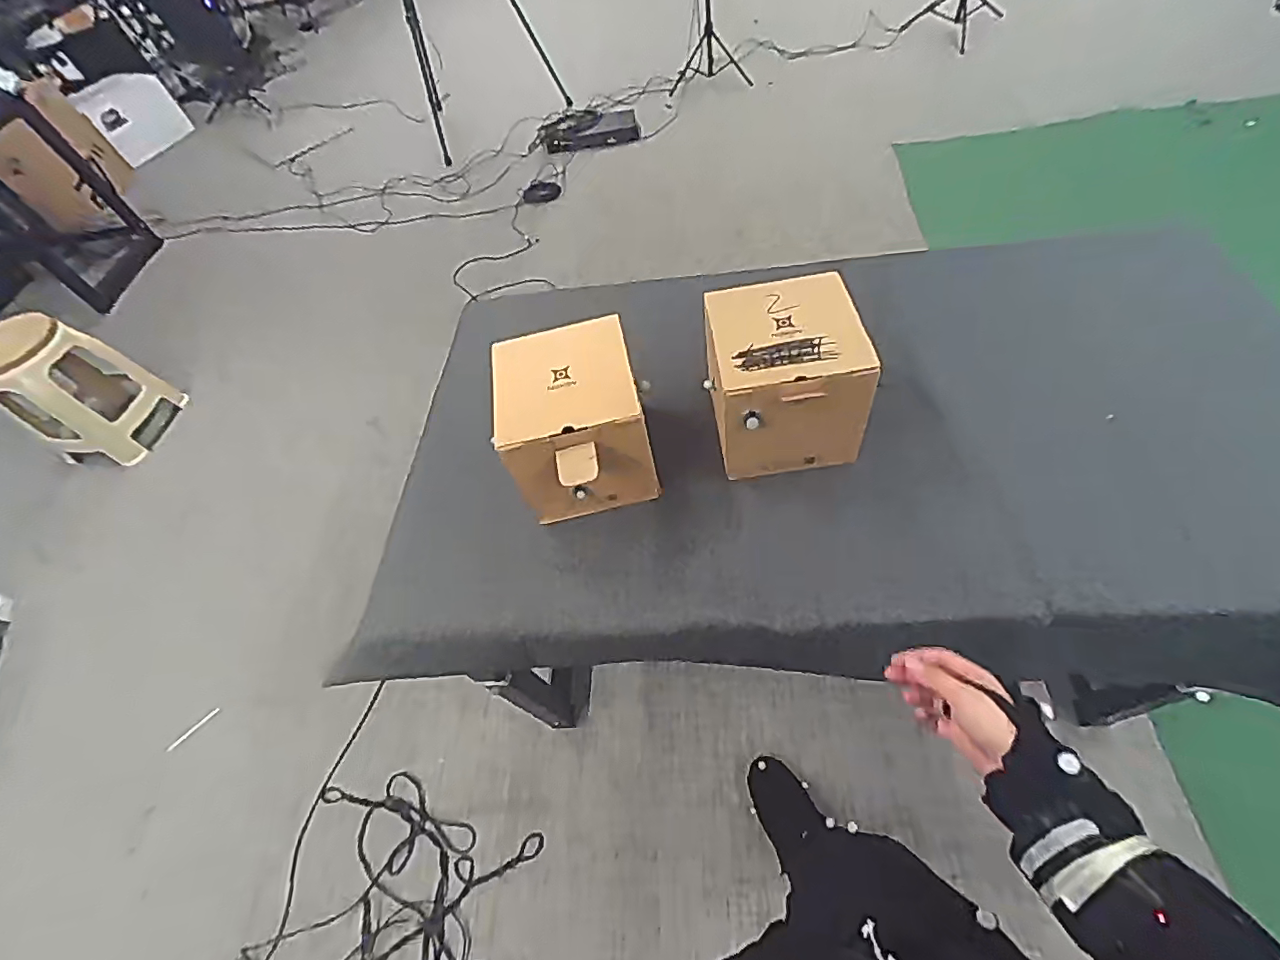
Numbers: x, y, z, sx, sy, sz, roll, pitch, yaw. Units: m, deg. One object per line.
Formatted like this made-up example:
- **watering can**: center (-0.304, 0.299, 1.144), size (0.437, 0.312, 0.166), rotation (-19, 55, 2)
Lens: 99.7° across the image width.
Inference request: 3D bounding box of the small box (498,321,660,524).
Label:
- **small box**: center (-0.075, -0.070, 0.695), size (0.168, 0.176, 0.179), rotation (-13, 55, 1)
